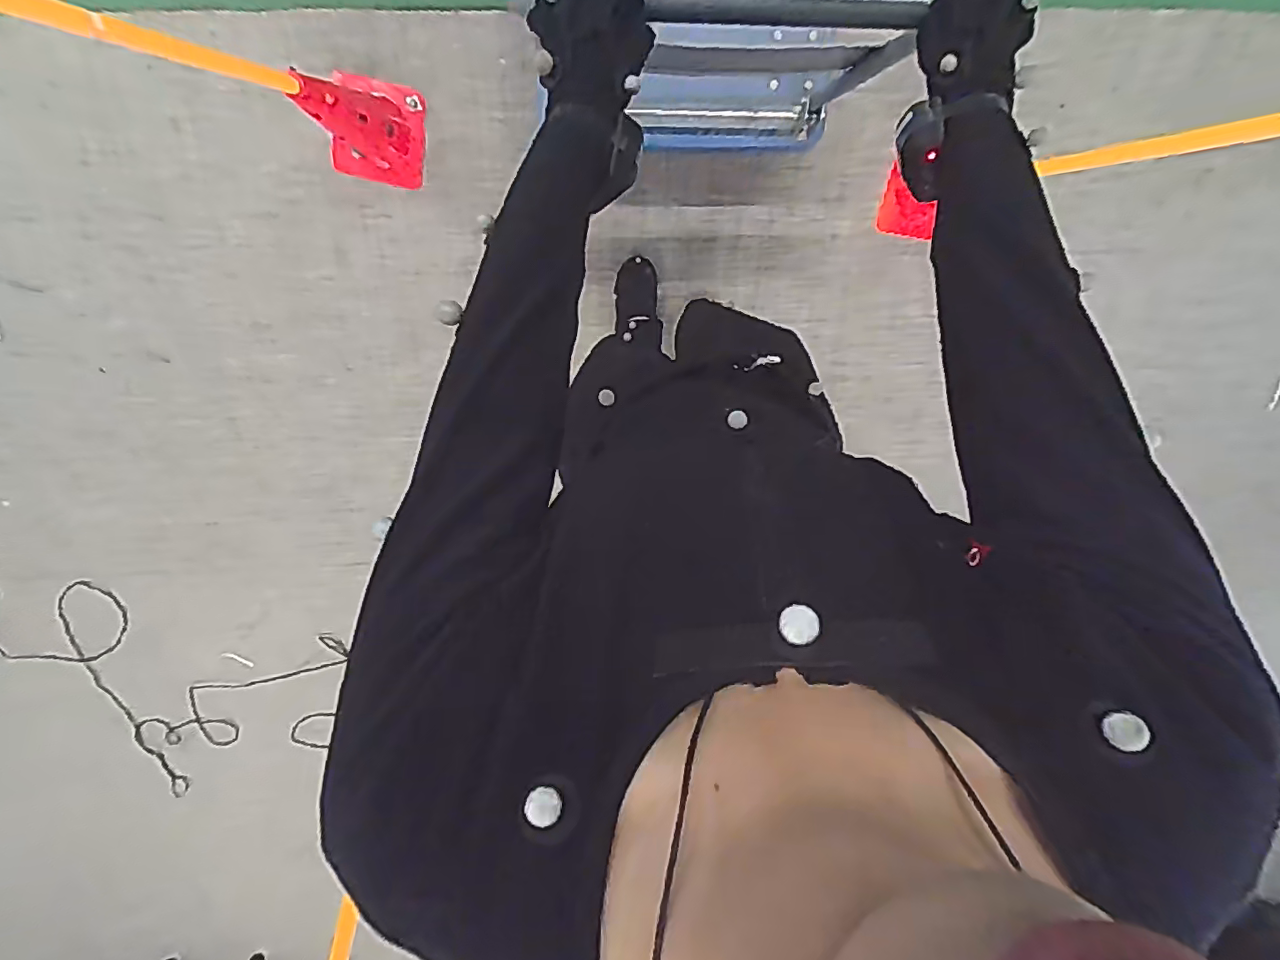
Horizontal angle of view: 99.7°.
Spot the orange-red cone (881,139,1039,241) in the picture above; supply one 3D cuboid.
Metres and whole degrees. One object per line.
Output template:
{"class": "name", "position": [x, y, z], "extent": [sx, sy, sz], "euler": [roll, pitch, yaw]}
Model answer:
{"class": "orange-red cone", "position": [0.707, -0.634, 1.151], "extent": [0.198, 0.360, 0.199], "euler": [9, 112, -6]}
